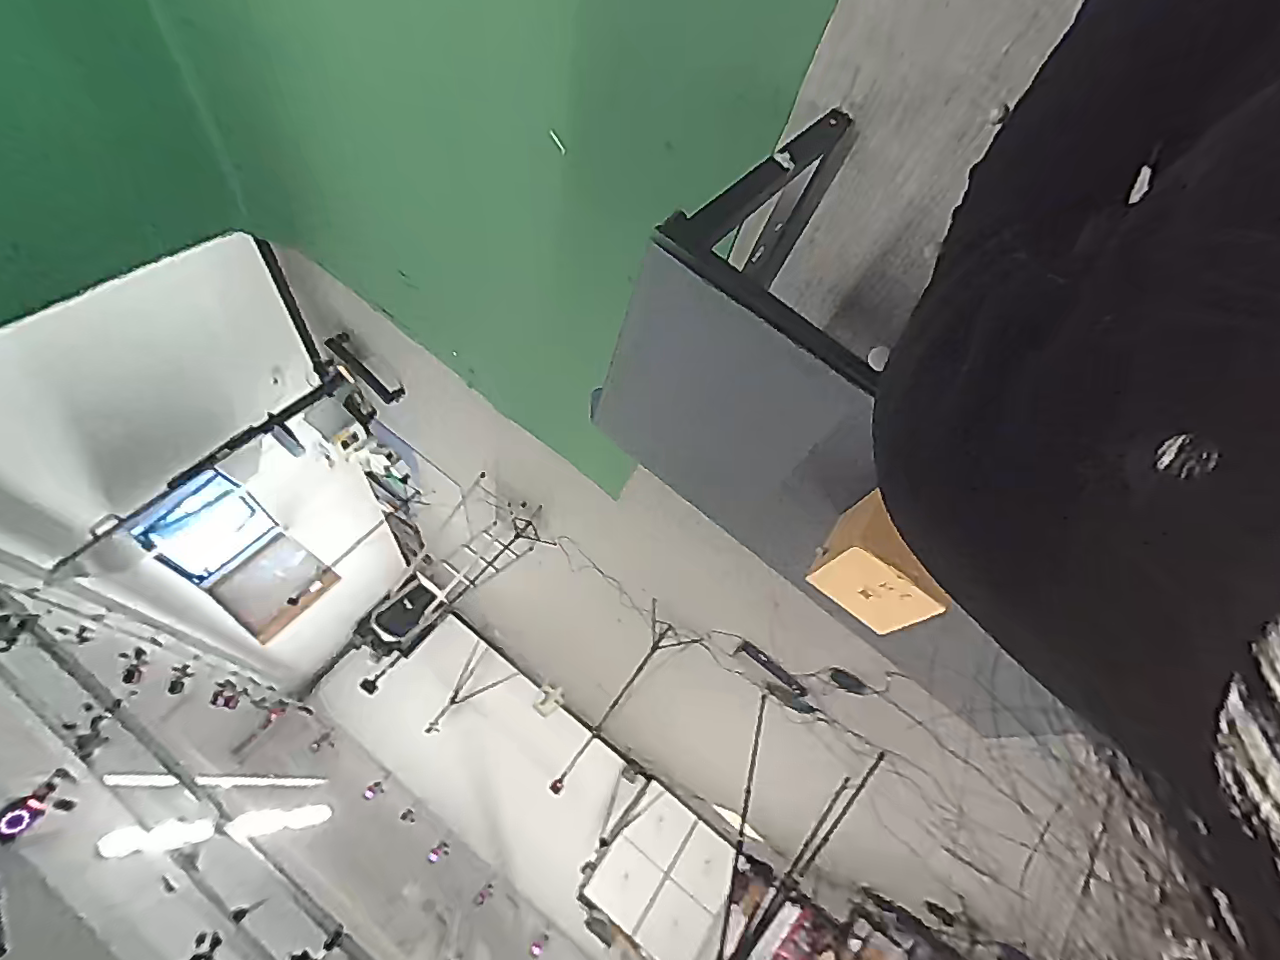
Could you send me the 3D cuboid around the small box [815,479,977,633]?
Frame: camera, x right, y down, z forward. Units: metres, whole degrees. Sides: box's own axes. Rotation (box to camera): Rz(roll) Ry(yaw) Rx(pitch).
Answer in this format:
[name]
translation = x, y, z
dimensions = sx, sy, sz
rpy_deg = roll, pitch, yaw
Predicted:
[small box]
translation = 0.446, 0.133, 0.943
dimensions = 0.168, 0.176, 0.179
rpy_deg = 36, 150, 8
